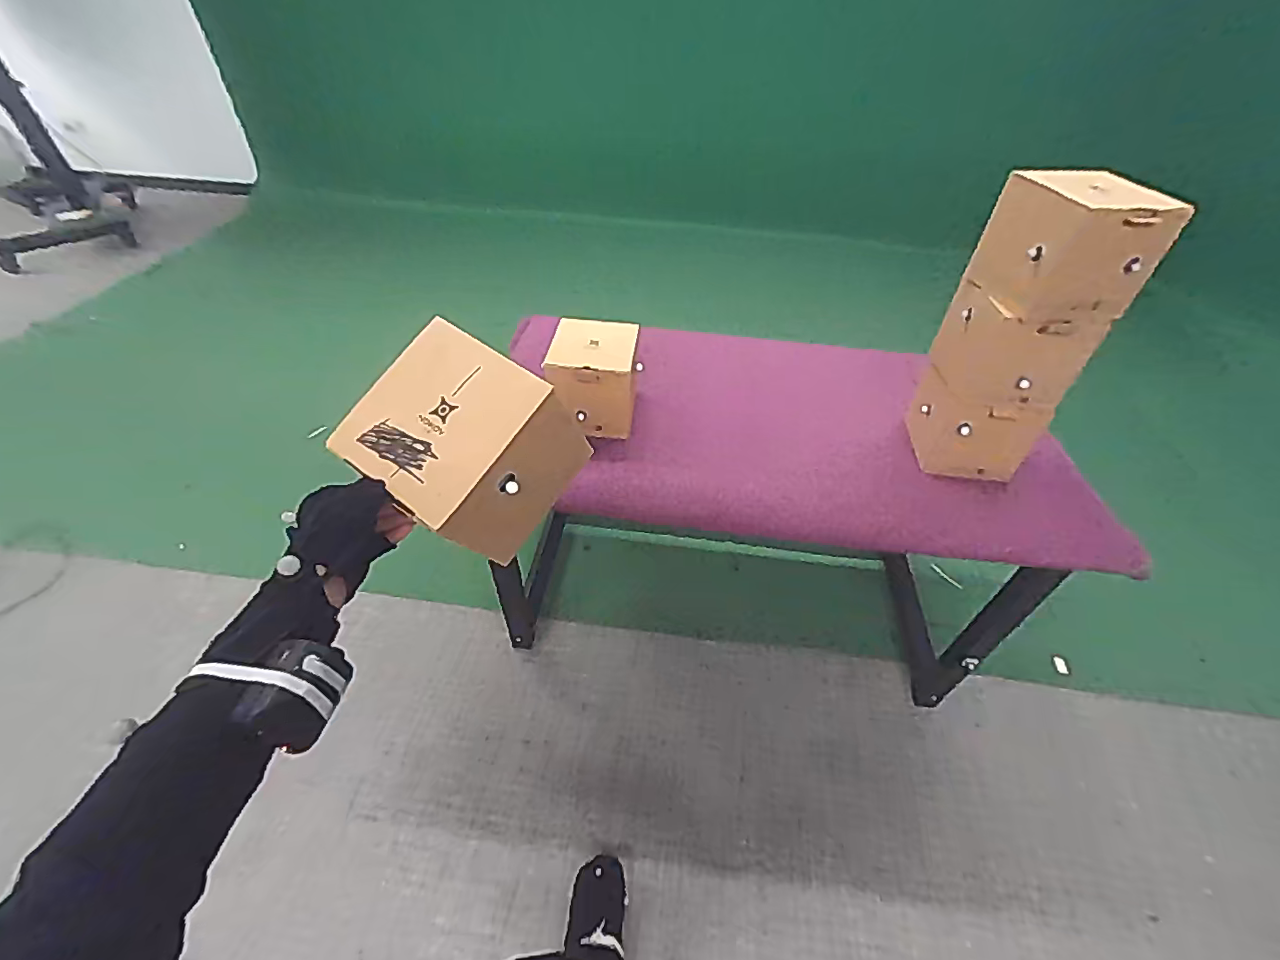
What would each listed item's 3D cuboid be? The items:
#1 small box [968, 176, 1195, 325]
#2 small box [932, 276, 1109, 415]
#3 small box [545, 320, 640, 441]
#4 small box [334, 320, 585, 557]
[{"bbox_3d":[0.659,-0.352,0.836,0.168,0.176,0.179,-3,45,-6],"label":"small box"},{"bbox_3d":[0.647,-0.237,0.951,0.168,0.176,0.179,4,45,2],"label":"small box"},{"bbox_3d":[-0.094,-0.205,1.117,0.168,0.176,0.179,6,47,2],"label":"small box"},{"bbox_3d":[-0.183,-0.035,0.606,0.168,0.176,0.179,34,79,17],"label":"small box"}]
